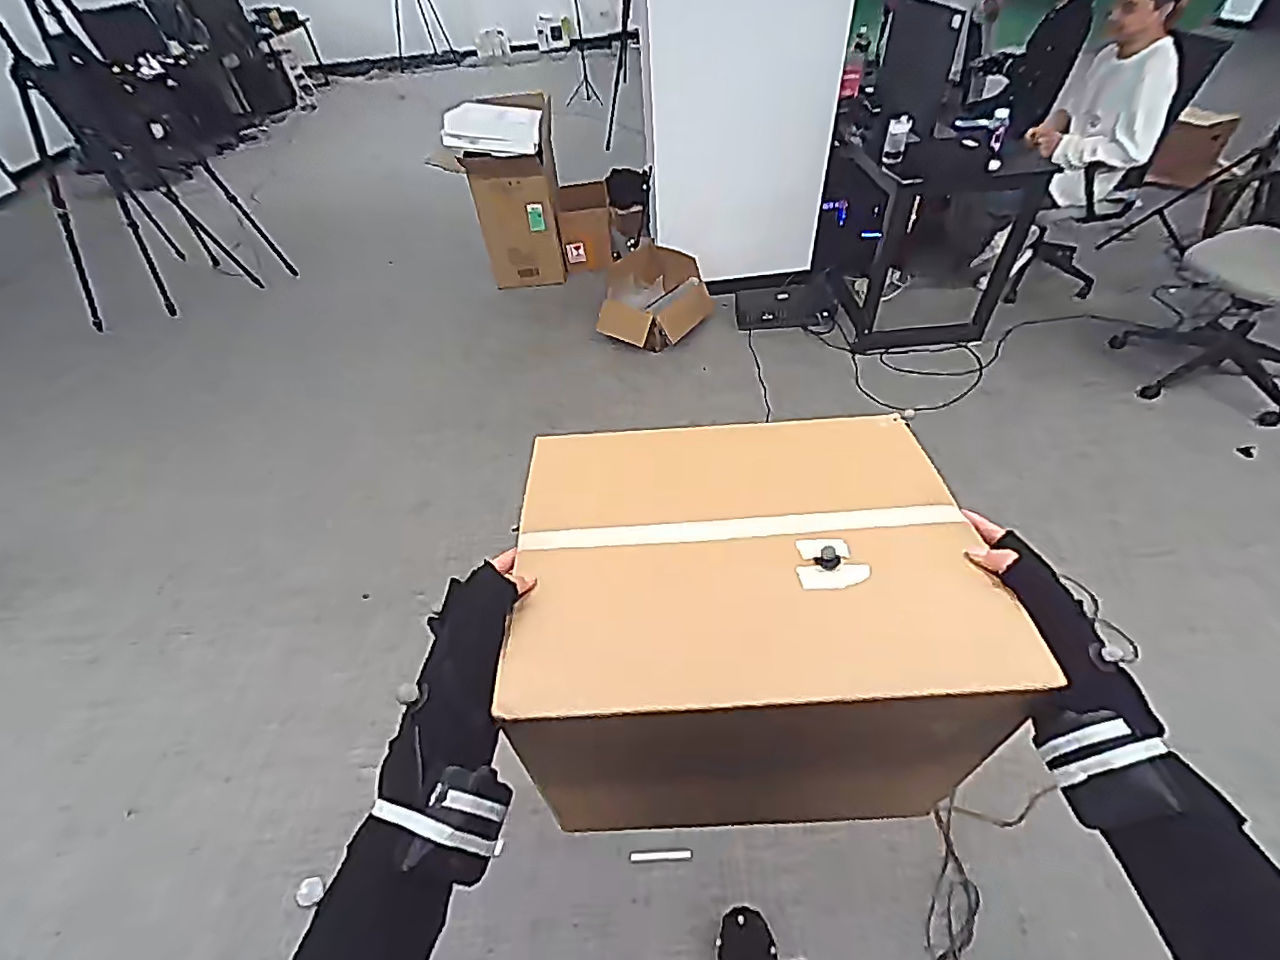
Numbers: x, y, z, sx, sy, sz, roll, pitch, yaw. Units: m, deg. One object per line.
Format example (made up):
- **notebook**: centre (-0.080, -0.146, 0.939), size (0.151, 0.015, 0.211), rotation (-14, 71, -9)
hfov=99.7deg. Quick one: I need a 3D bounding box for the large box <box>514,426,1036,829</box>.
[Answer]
- **large box**: centre (0.101, 0.164, 0.612), size (0.408, 0.320, 0.320), rotation (-4, 44, 1)
